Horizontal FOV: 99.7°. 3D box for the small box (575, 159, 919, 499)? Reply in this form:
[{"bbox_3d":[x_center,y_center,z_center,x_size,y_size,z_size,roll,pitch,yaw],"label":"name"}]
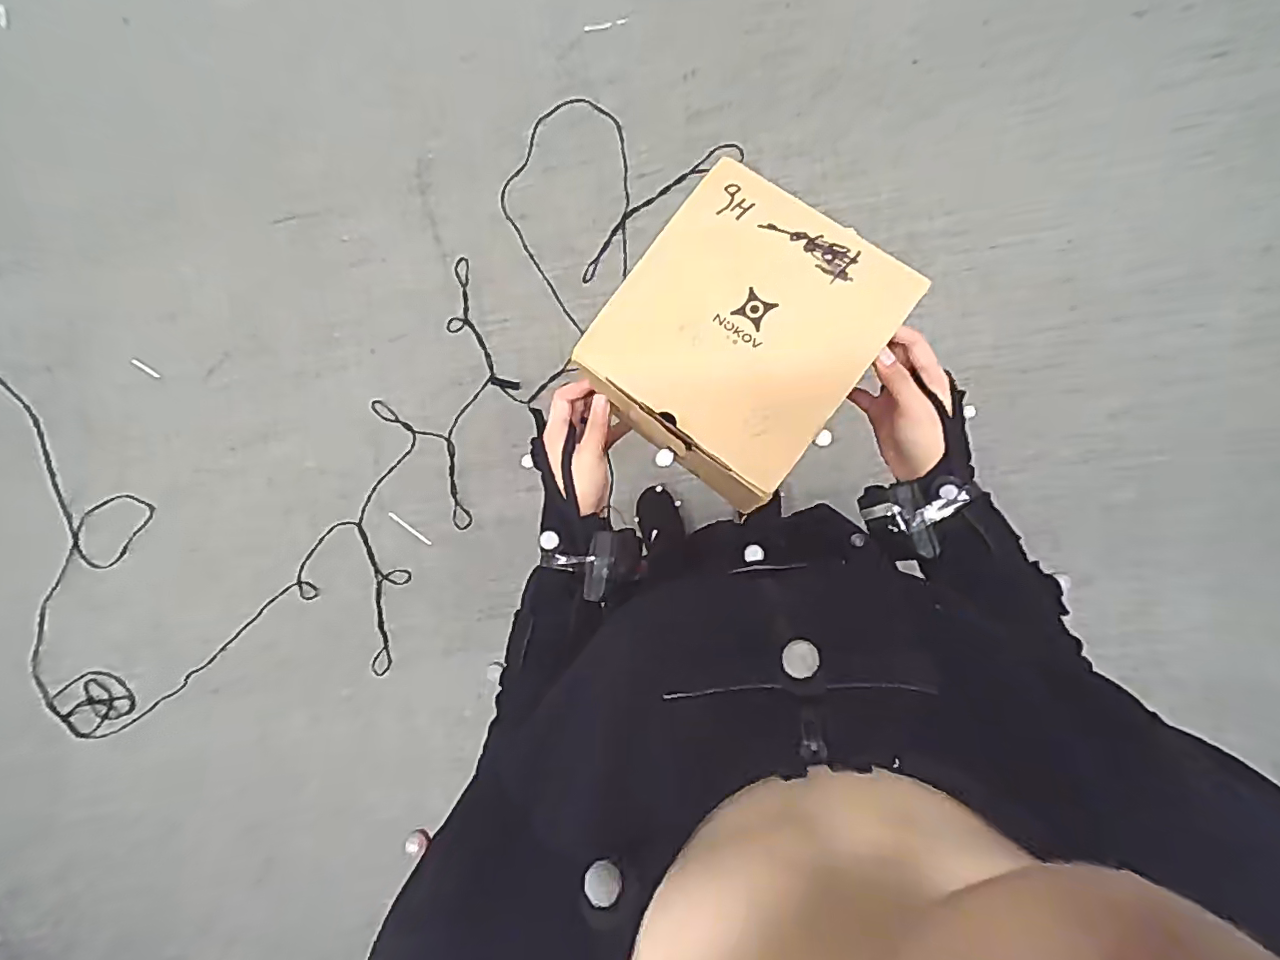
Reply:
[{"bbox_3d":[0.079,-0.099,0.440,0.168,0.176,0.179,37,89,9],"label":"small box"}]
